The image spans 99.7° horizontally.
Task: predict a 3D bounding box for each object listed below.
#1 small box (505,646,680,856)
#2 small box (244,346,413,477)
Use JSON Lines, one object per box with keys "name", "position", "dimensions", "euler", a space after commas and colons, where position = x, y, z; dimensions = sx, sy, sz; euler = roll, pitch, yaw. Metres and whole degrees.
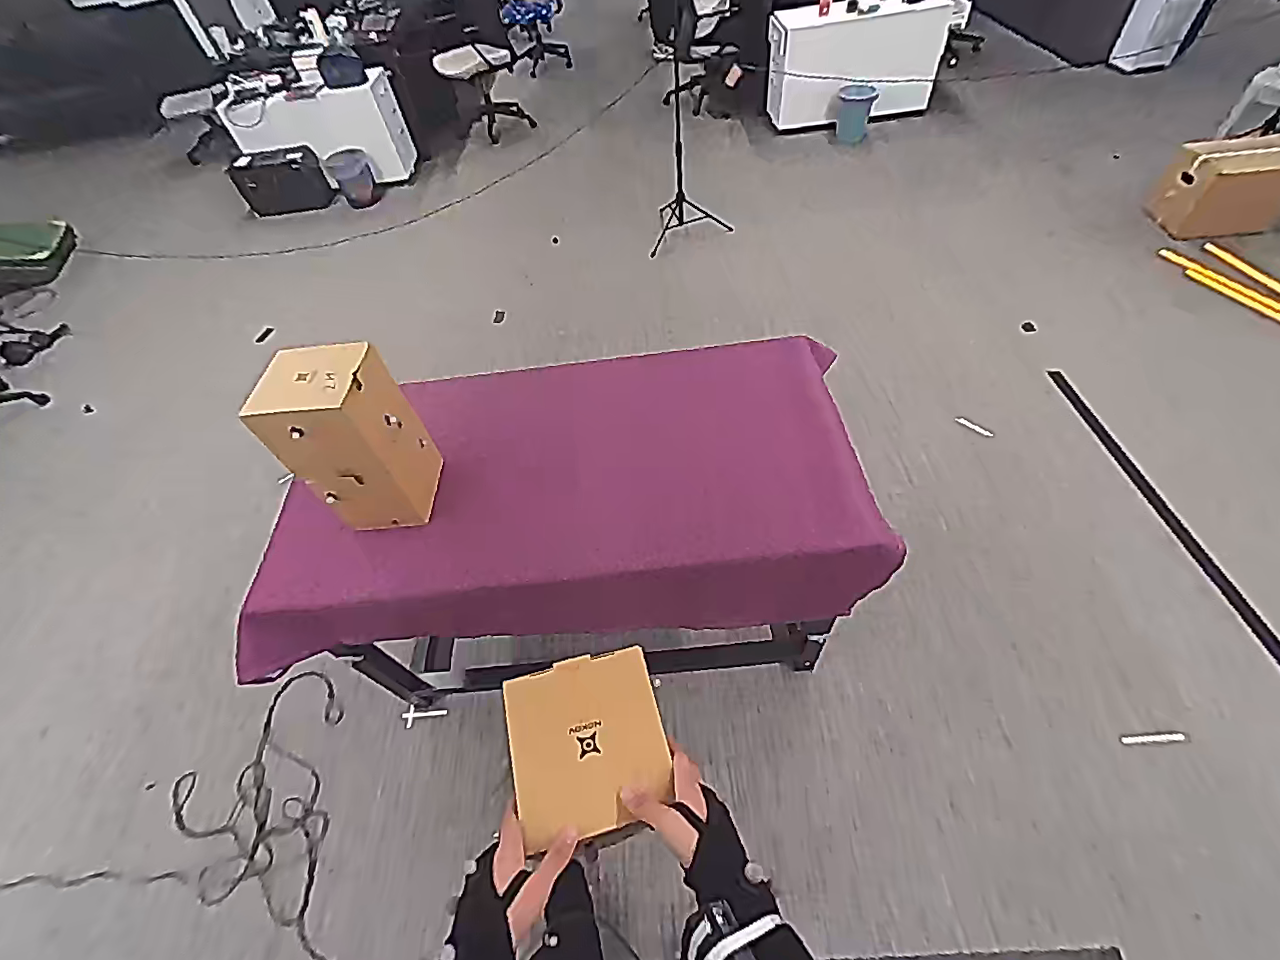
{"name": "small box", "position": [-0.056, 0.329, 0.649], "dimensions": [0.168, 0.176, 0.179], "euler": [-12, 52, -10]}
{"name": "small box", "position": [-0.542, -0.118, 0.970], "dimensions": [0.179, 0.176, 0.168], "euler": [-3, 52, 4]}
